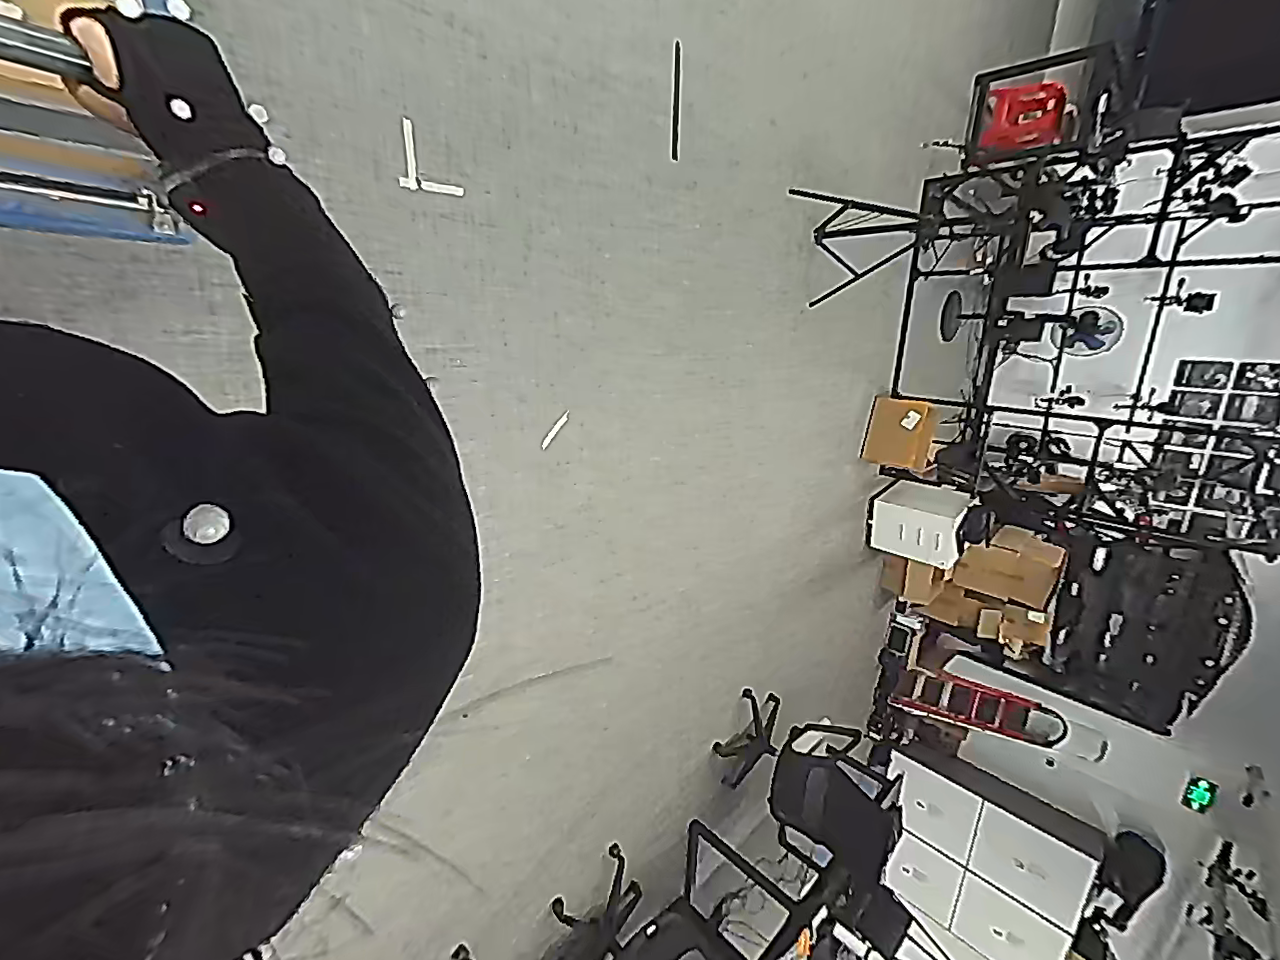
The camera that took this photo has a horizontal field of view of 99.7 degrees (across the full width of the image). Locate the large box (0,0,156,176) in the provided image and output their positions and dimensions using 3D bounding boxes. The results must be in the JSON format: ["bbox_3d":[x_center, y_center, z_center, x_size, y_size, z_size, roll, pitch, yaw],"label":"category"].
[{"bbox_3d":[-0.880,-0.593,0.635,0.408,0.320,0.320,-13,112,-46],"label":"large box"}]
